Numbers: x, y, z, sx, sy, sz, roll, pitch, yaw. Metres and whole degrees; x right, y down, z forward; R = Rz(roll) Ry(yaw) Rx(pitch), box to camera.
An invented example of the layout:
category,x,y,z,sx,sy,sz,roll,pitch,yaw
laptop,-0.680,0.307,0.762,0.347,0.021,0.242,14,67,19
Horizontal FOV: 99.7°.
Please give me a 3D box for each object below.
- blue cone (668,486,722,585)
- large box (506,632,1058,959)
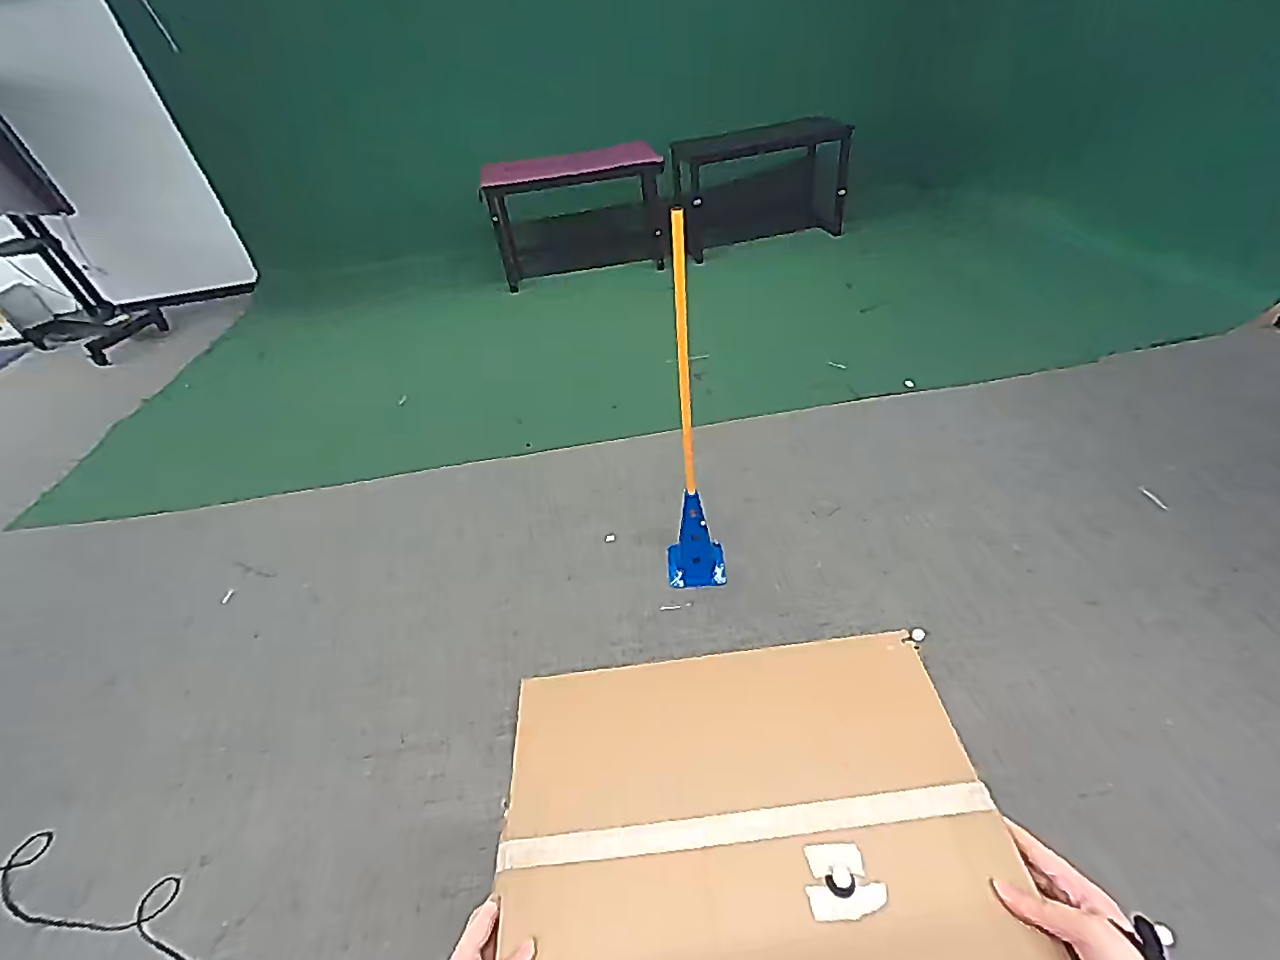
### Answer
category,x,y,z,sx,sy,sz,roll,pitch,yaw
blue cone,0.181,0.180,1.853,0.193,0.380,0.192,-3,40,5
large box,0.102,0.399,0.562,0.408,0.320,0.320,-7,43,1
